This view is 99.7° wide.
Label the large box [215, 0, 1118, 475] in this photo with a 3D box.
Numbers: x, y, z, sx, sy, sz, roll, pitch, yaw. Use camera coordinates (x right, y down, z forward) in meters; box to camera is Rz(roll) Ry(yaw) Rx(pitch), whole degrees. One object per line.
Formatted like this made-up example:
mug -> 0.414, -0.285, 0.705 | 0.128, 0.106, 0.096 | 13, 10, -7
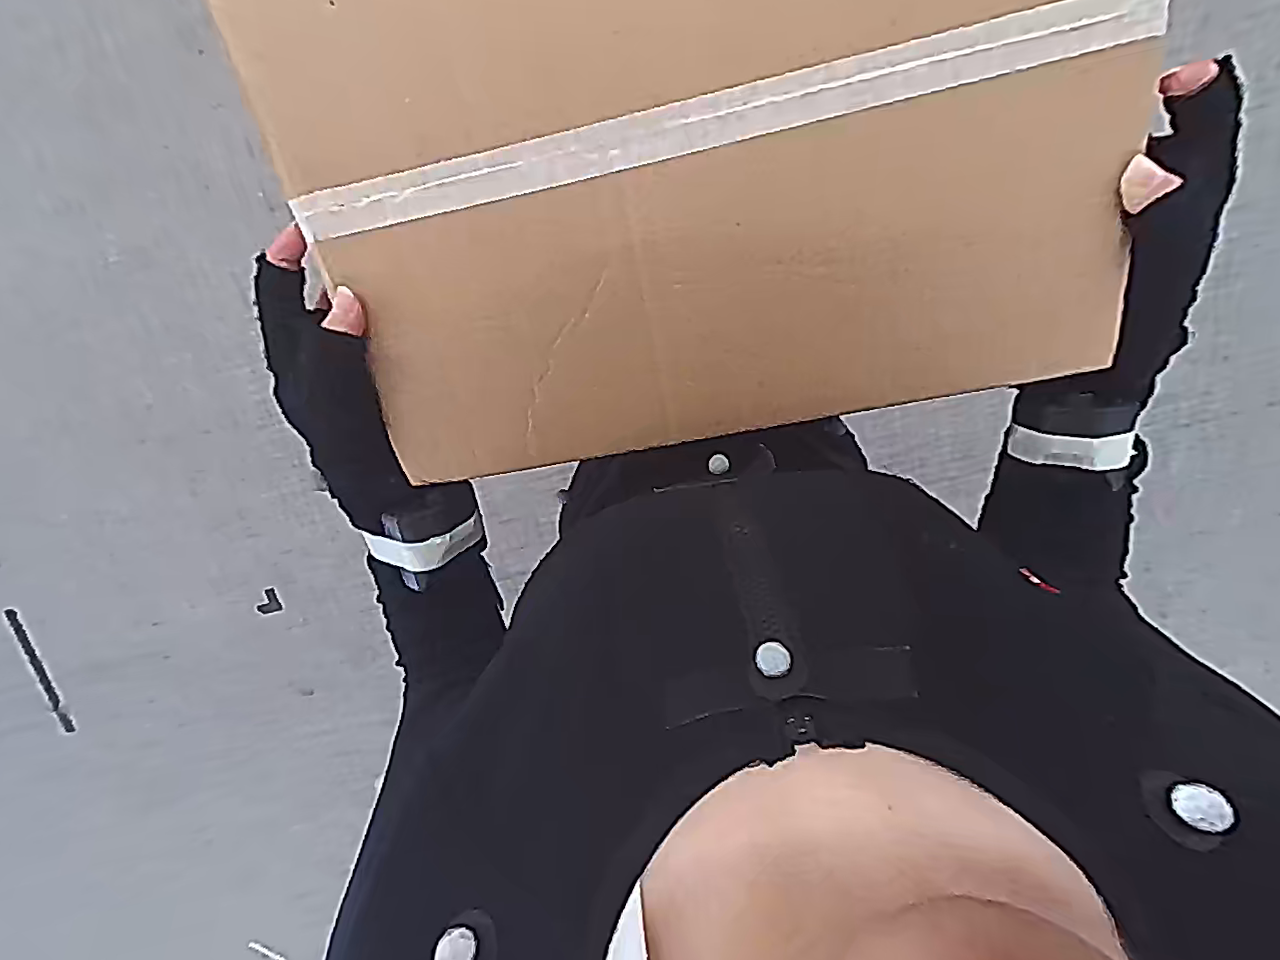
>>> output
large box -> 0.024, -0.237, 0.397 | 0.408, 0.320, 0.320 | -10, 114, 7
